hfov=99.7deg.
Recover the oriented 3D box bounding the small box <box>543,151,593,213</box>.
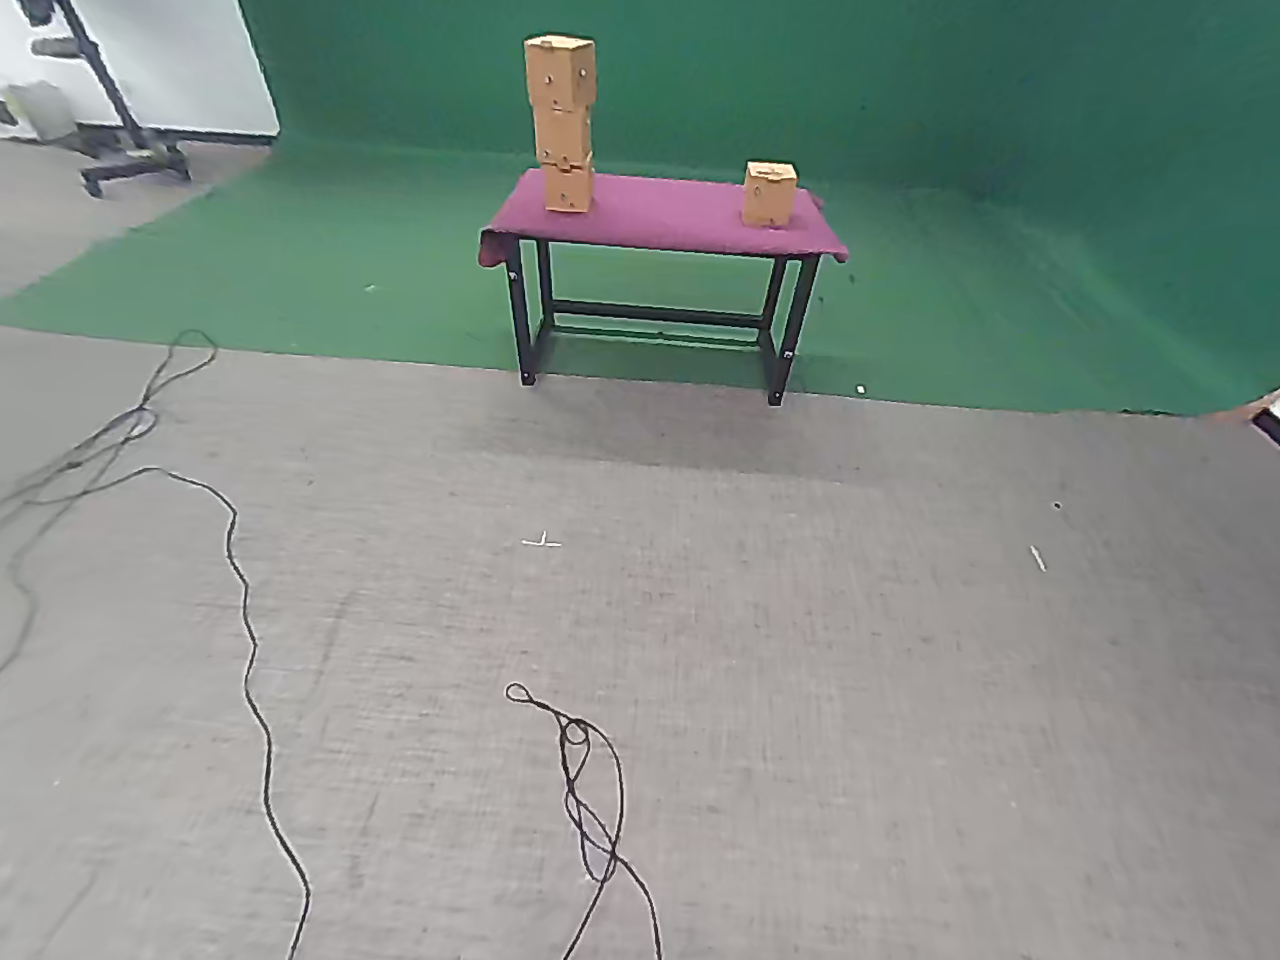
[{"bbox_3d":[-0.269,-1.133,2.042,0.168,0.176,0.179,4,47,-1],"label":"small box"}]

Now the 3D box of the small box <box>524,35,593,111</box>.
[{"bbox_3d":[-0.262,-1.352,1.797,0.168,0.176,0.179,20,50,14],"label":"small box"}]

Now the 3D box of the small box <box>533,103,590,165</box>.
[{"bbox_3d":[-0.271,-1.236,1.914,0.168,0.176,0.179,7,46,2],"label":"small box"}]
